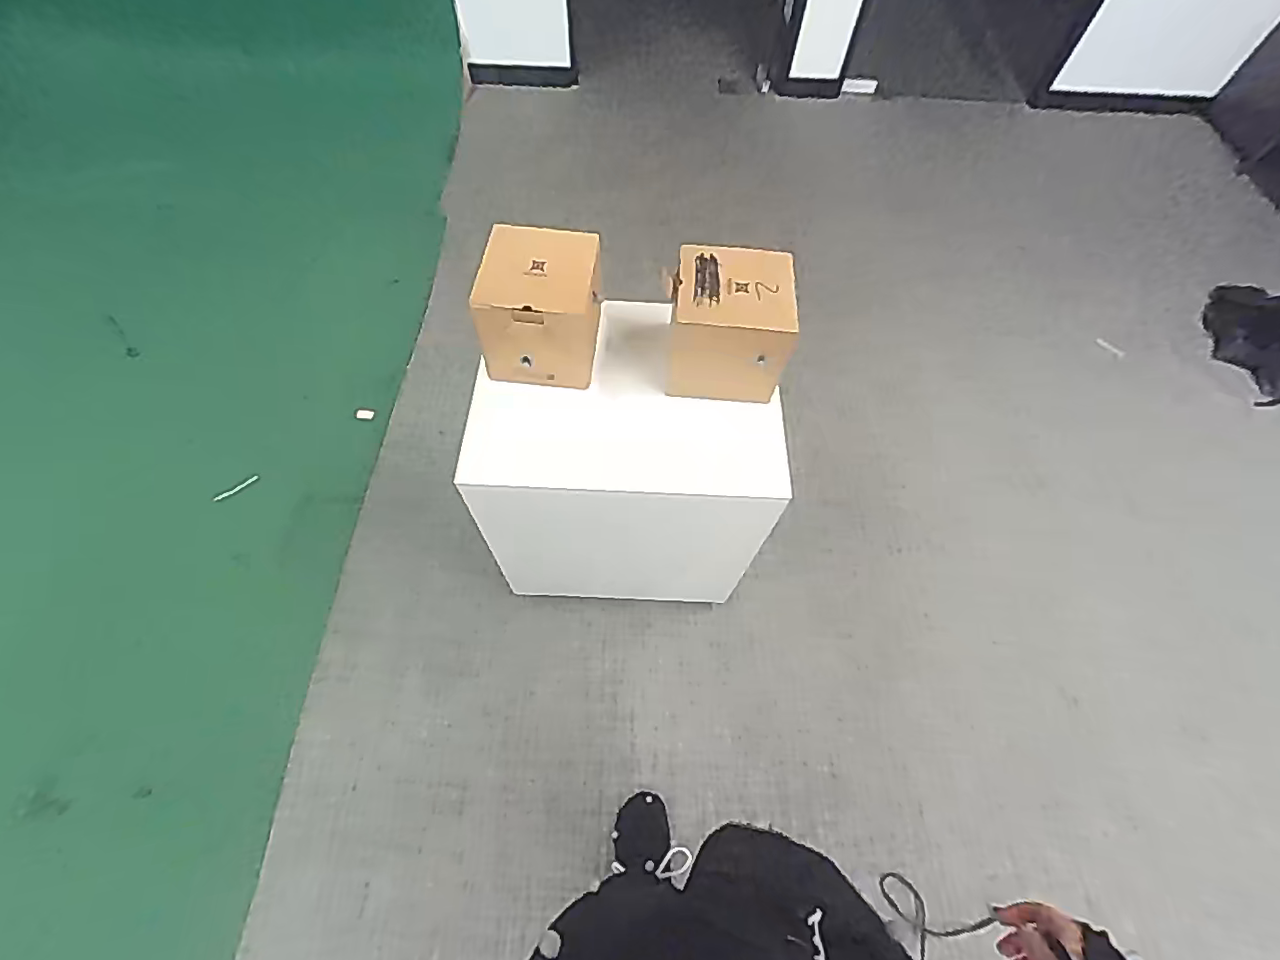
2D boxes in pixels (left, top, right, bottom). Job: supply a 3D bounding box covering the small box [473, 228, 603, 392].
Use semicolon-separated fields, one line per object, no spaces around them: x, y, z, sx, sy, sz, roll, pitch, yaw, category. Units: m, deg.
-0.151;-0.267;0.864;0.168;0.176;0.179;5;62;-1;small box
